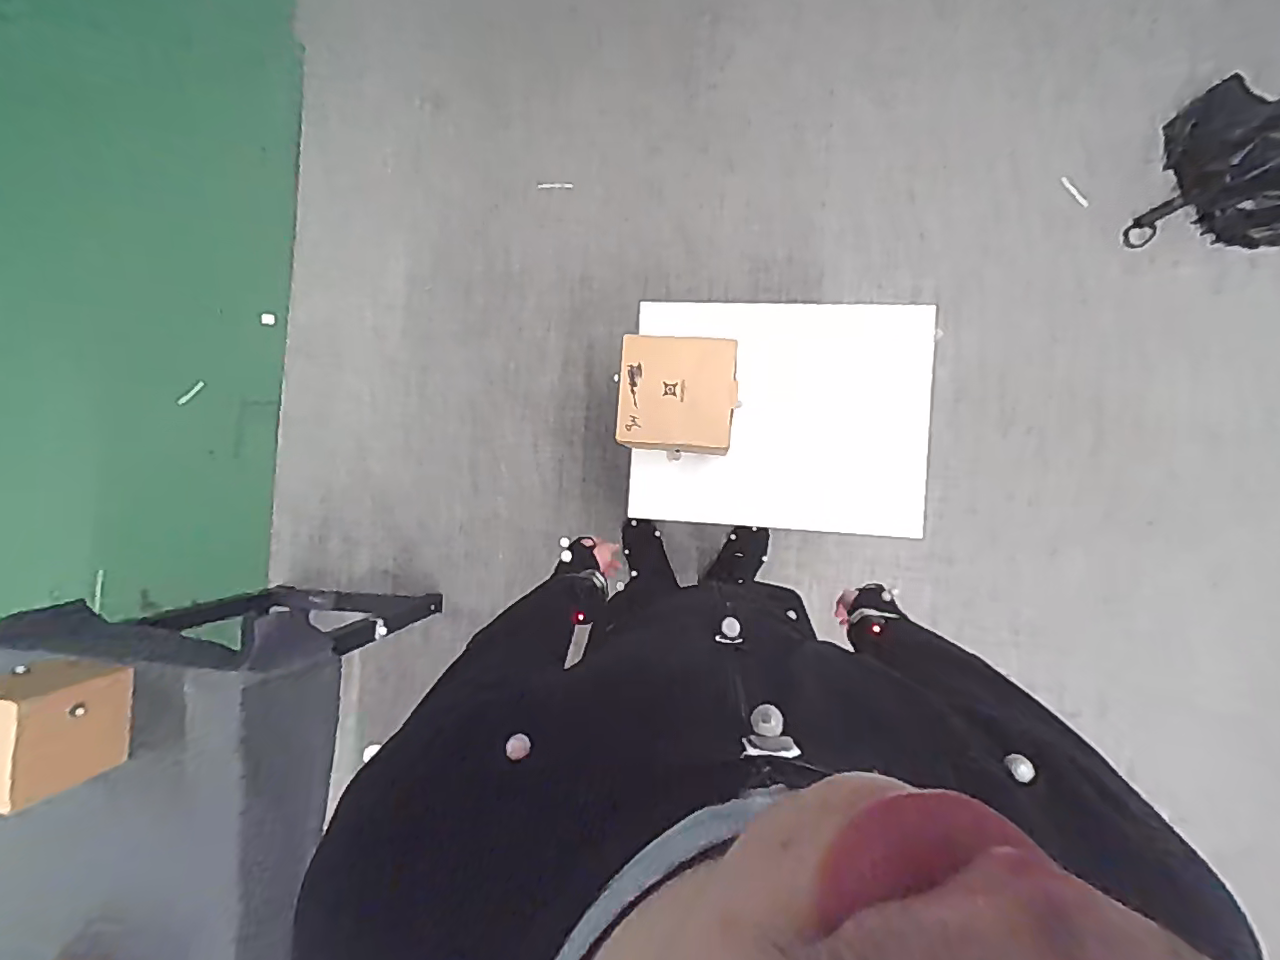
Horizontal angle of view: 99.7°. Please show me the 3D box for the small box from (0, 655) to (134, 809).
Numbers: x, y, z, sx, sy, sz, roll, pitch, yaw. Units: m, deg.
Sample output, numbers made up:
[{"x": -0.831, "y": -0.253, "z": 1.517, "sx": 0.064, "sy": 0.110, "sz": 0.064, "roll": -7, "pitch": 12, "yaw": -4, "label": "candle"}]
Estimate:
[{"x": -1.016, "y": 0.413, "z": 0.919, "sx": 0.168, "sy": 0.176, "sz": 0.179, "roll": 4, "pitch": 92, "yaw": 10, "label": "small box"}]

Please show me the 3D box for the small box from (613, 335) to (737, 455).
[{"x": 0.060, "y": -0.131, "z": 0.890, "sx": 0.179, "sy": 0.176, "sz": 0.168, "roll": 5, "pitch": 90, "yaw": 7, "label": "small box"}]
